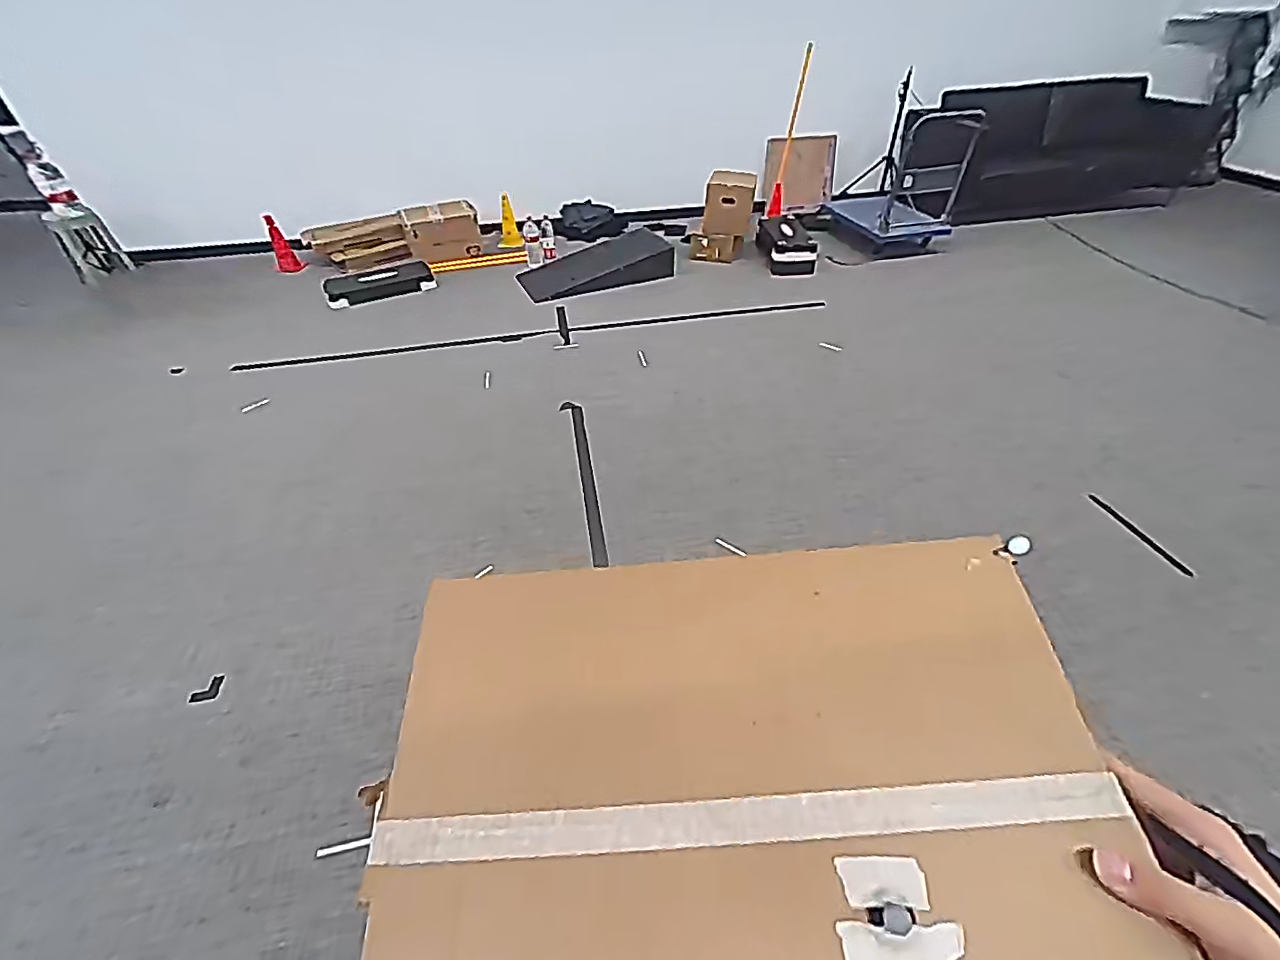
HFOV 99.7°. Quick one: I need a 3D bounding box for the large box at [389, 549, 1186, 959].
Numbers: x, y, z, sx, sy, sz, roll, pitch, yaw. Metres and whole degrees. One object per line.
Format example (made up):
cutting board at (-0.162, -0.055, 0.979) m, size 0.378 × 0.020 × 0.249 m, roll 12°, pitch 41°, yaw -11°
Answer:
large box at (0.072, 0.278, 0.427) m, size 0.408 × 0.320 × 0.320 m, roll -5°, pitch 57°, yaw 1°
